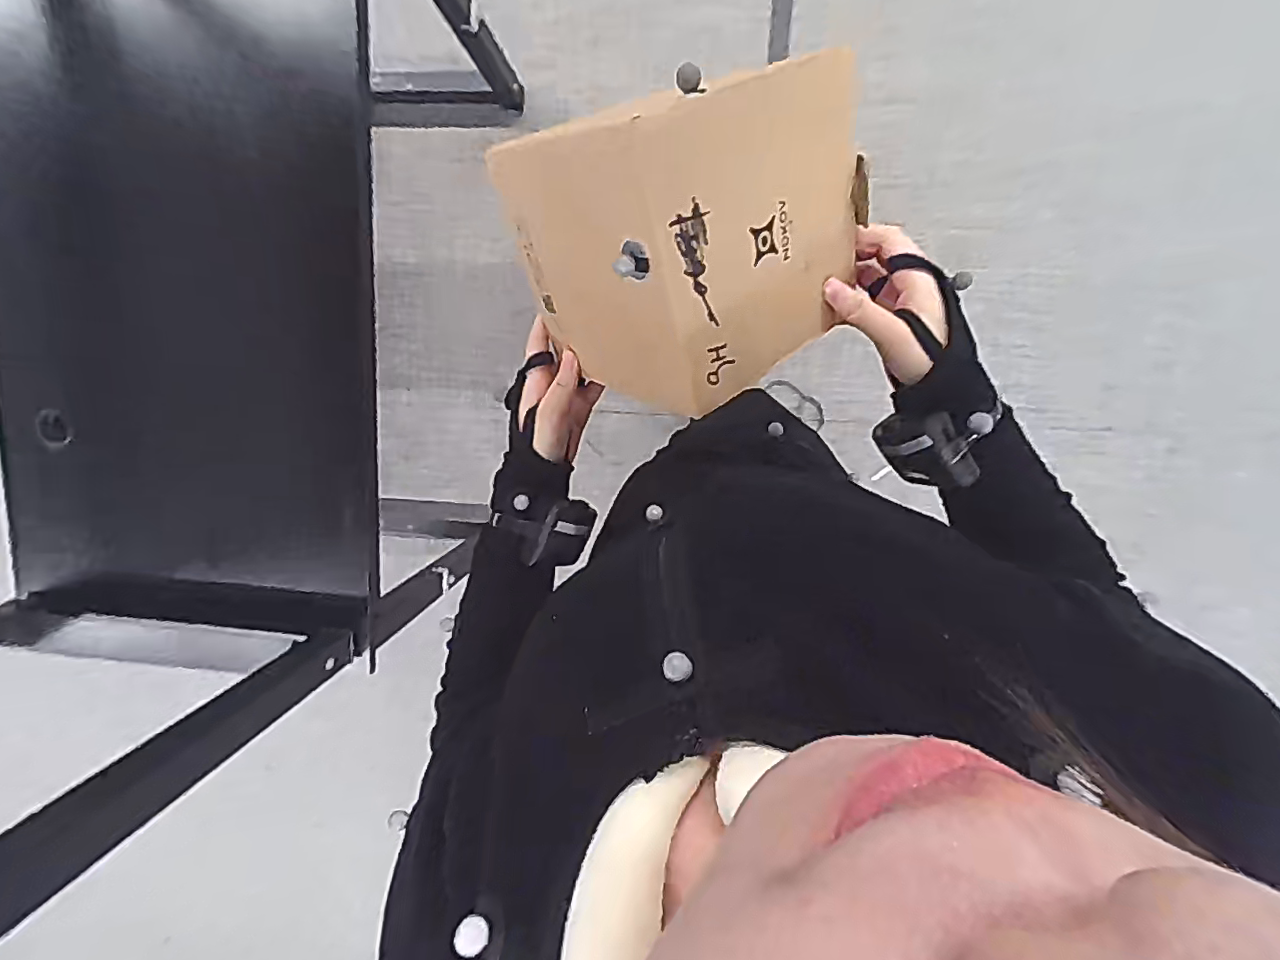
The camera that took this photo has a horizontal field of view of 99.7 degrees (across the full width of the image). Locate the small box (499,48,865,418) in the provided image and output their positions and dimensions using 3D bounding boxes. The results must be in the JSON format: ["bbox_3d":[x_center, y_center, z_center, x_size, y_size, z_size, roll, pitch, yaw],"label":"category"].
[{"bbox_3d":[0.034,-0.171,0.380,0.179,0.176,0.168,-35,128,-24],"label":"small box"}]
